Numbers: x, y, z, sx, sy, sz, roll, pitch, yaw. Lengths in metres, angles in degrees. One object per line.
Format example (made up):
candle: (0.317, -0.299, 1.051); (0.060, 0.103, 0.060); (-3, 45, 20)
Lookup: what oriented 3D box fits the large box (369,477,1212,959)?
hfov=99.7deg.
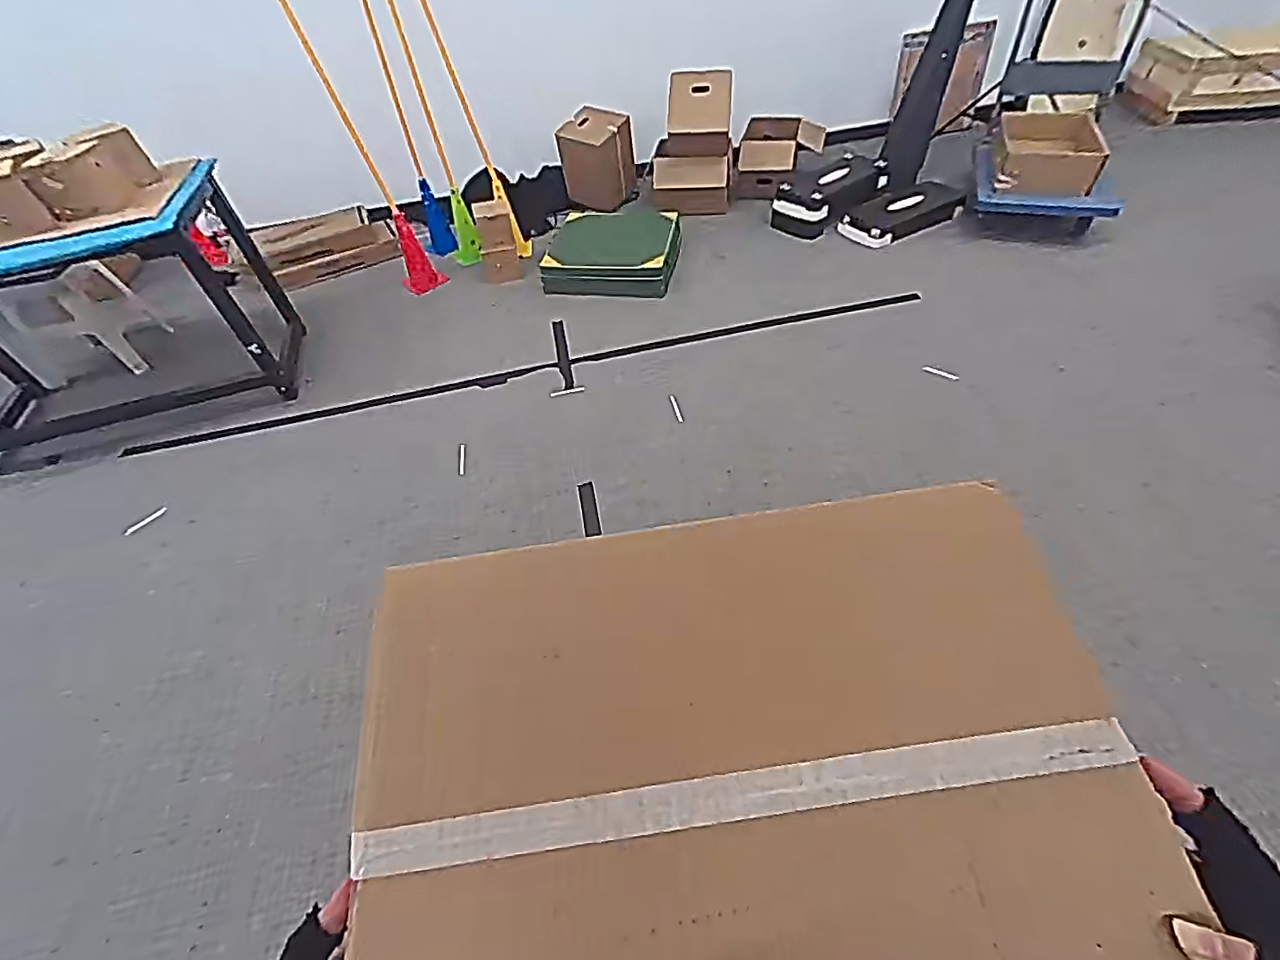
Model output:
large box: (0.062, 0.231, 0.427); (0.408, 0.320, 0.320); (-9, 63, 0)
